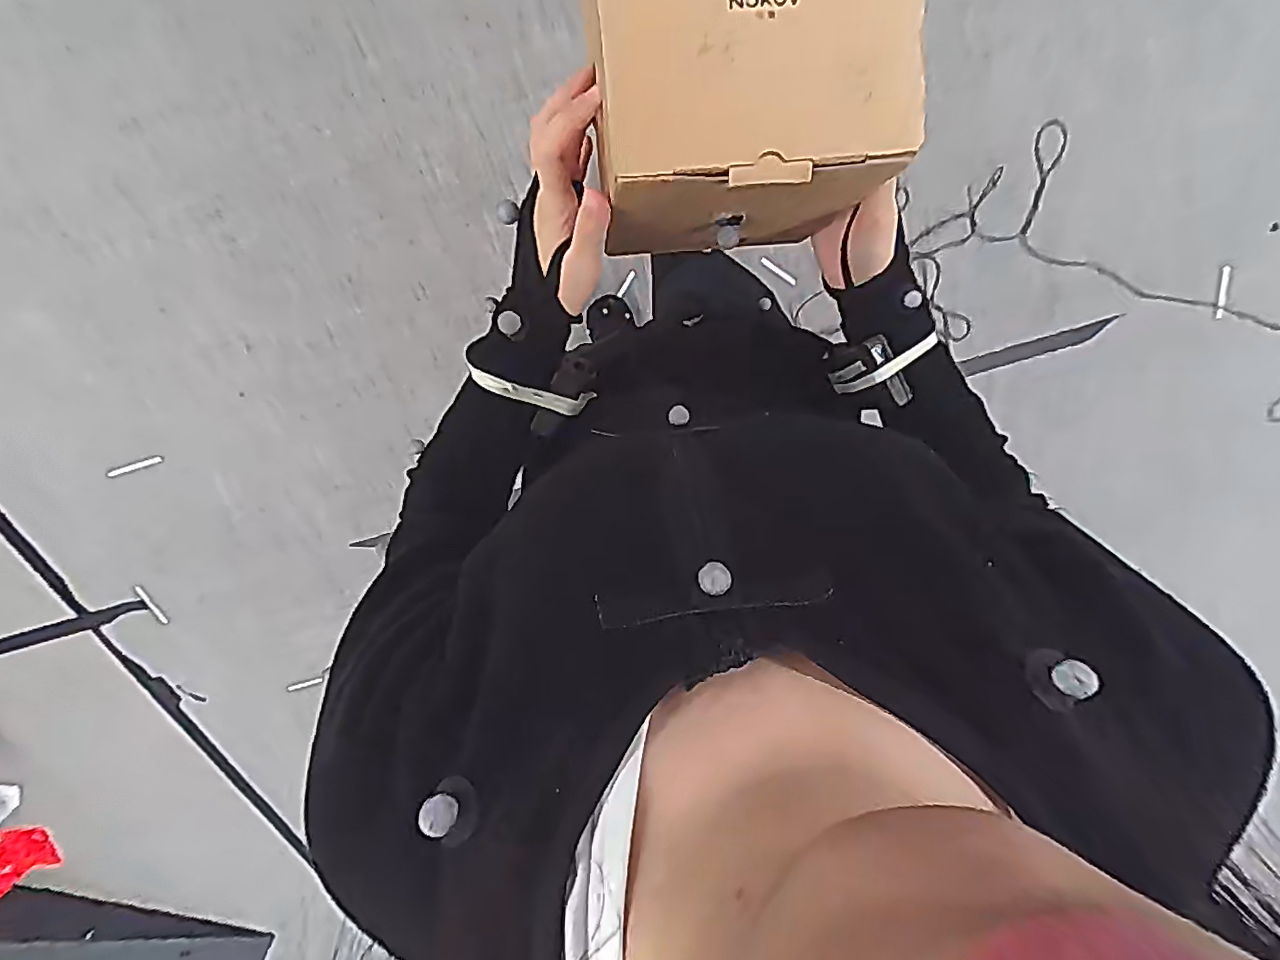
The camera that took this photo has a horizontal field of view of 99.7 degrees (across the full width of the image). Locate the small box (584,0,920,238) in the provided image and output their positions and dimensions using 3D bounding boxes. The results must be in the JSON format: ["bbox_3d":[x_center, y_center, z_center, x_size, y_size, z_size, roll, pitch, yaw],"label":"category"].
[{"bbox_3d":[0.052,-0.264,0.343,0.168,0.176,0.179,-6,101,-4],"label":"small box"}]
